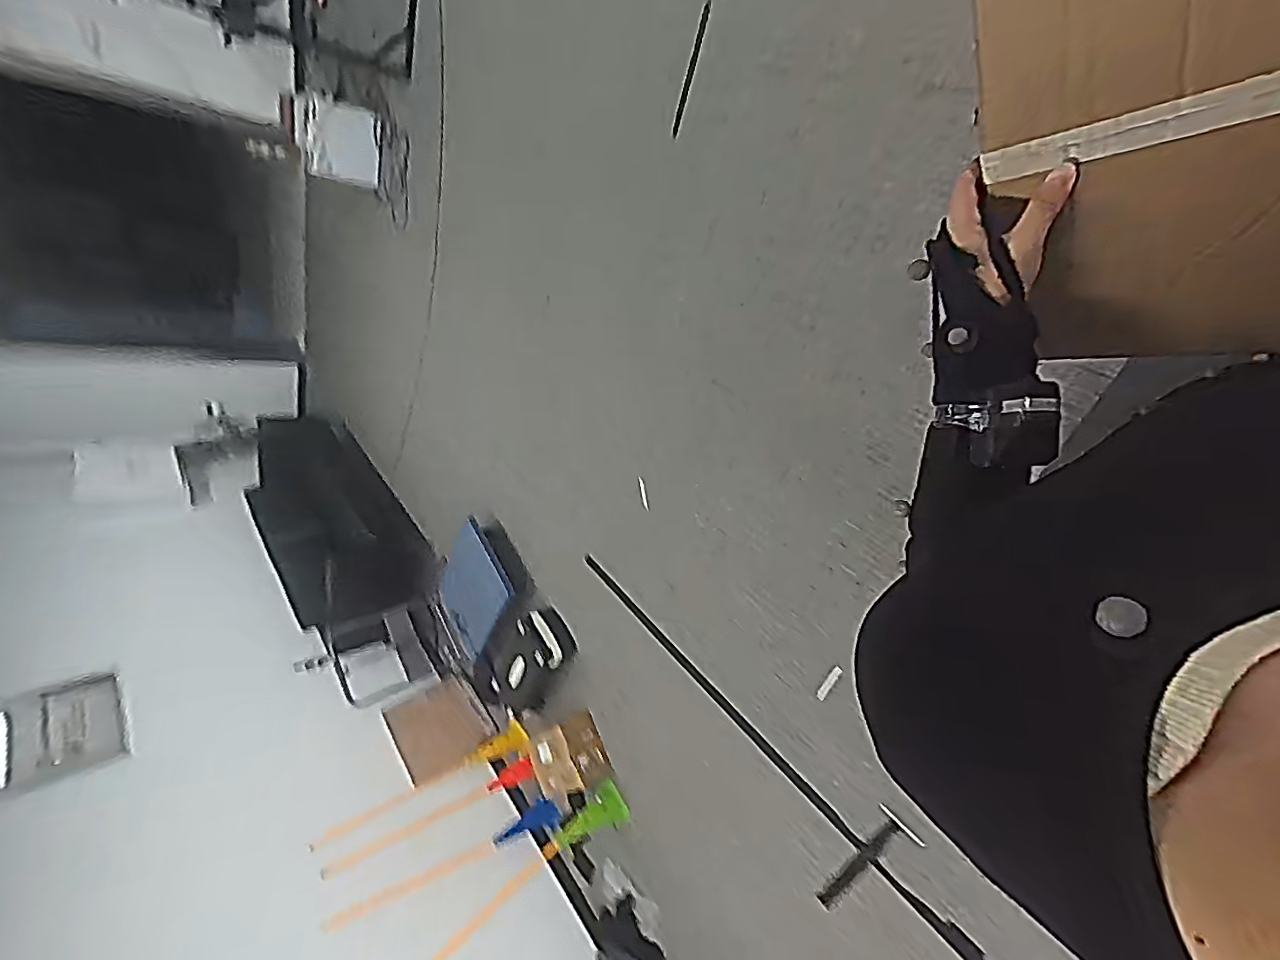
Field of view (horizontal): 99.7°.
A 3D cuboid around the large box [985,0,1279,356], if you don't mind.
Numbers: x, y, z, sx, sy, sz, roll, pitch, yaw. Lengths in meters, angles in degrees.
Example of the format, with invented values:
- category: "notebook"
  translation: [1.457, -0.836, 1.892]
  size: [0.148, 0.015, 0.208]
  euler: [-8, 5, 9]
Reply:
- category: "large box"
  translation: [0.484, -0.294, 0.317]
  size: [0.408, 0.320, 0.320]
  euler: [10, 136, 47]
